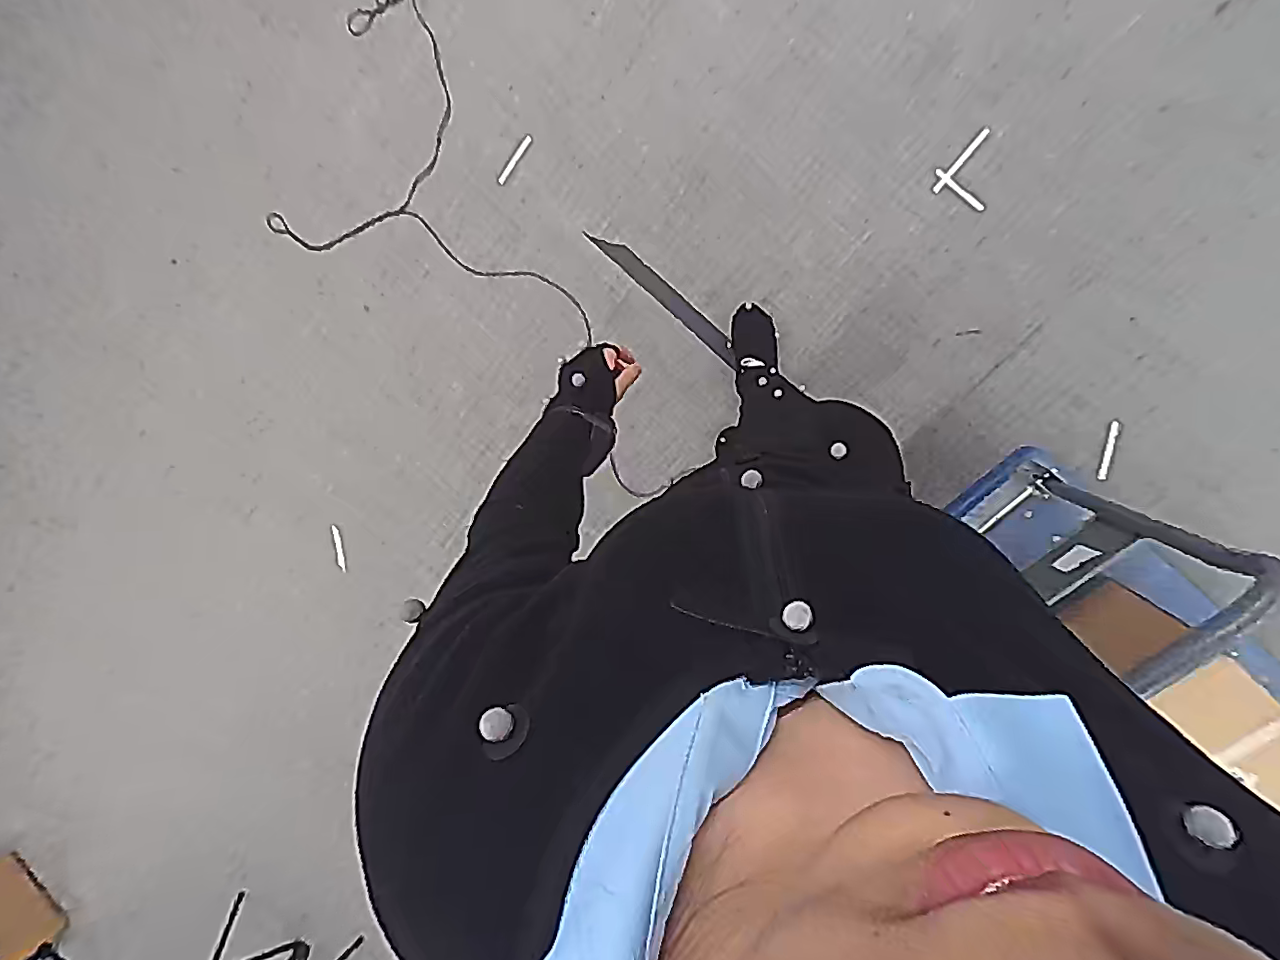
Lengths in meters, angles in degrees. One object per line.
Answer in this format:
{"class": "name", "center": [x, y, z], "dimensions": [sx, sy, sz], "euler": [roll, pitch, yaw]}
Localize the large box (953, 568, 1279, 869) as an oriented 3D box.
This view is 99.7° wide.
{"class": "large box", "center": [0.951, 0.458, 1.098], "dimensions": [0.320, 0.320, 0.408], "euler": [43, 107, 1]}
